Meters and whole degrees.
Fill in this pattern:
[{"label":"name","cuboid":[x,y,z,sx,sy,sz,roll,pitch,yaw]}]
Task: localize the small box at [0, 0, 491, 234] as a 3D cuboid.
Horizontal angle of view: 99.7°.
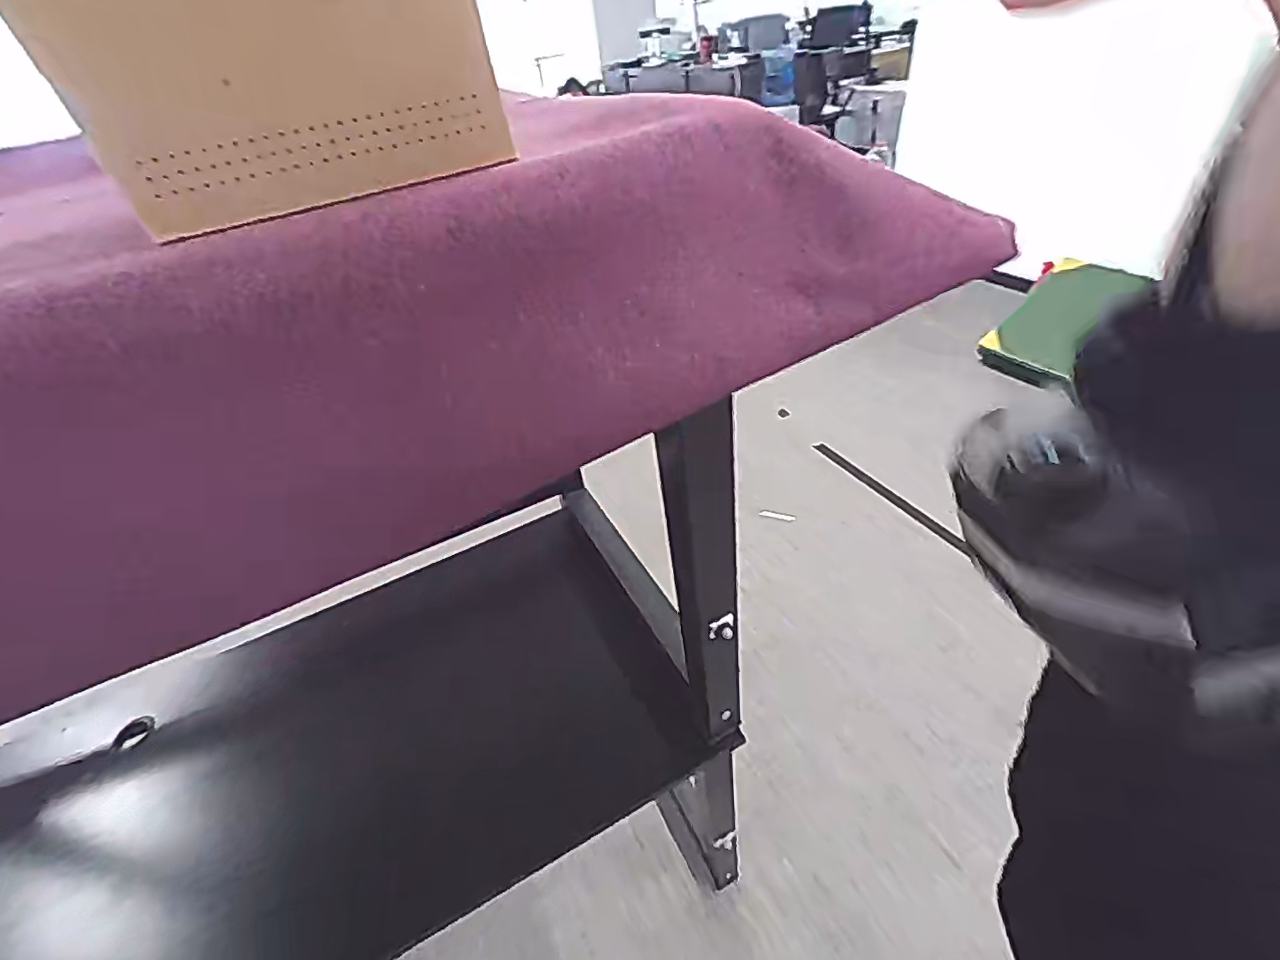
[{"label":"small box","cuboid":[-0.185,-0.241,0.262,0.179,0.176,0.168,-22,41,-14]}]
